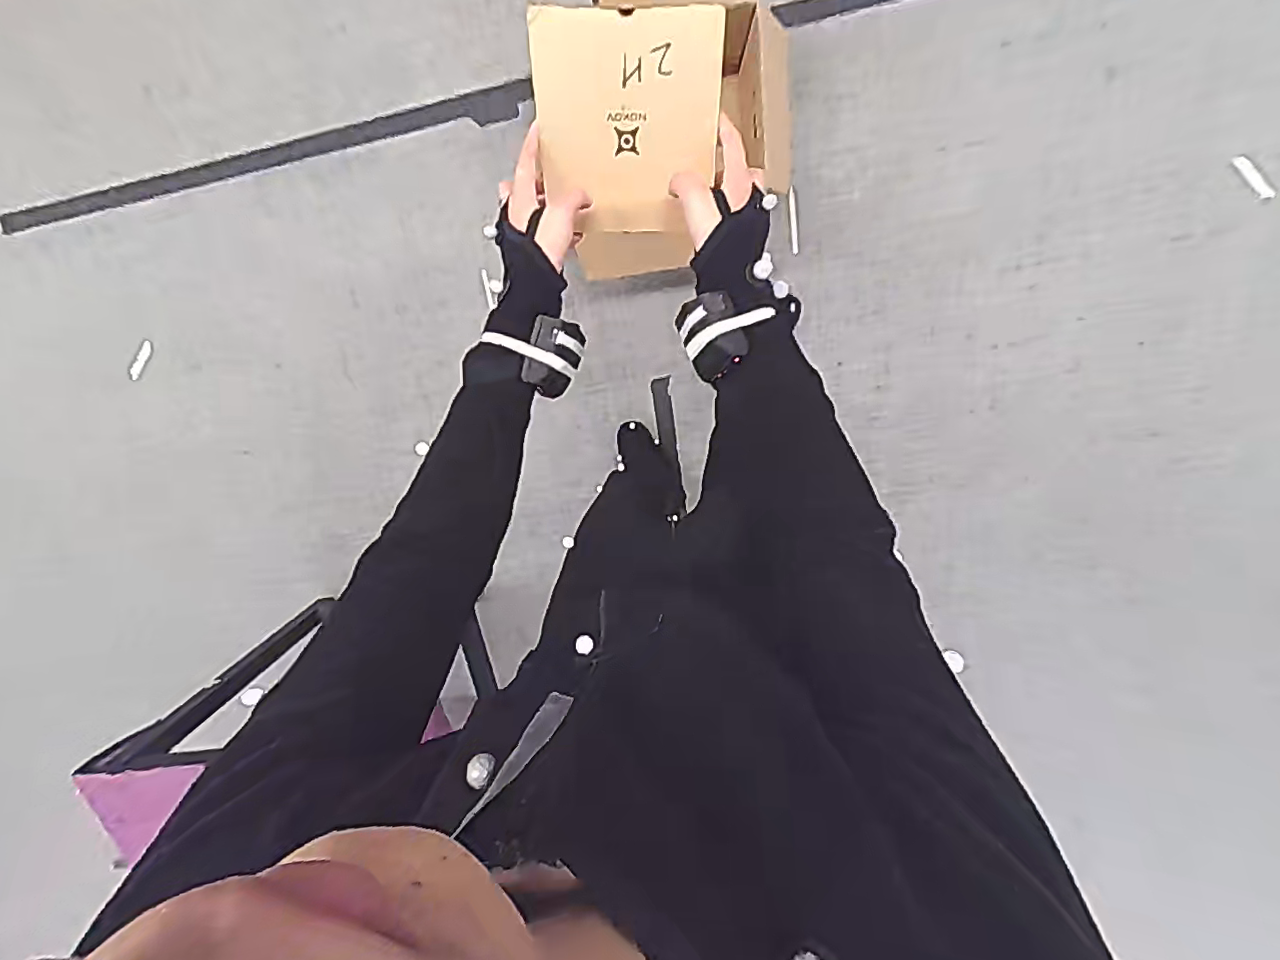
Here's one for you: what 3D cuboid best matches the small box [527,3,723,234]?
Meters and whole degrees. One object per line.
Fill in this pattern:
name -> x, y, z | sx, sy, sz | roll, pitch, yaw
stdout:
small box -> -0.012, -0.364, 0.556 | 0.168, 0.176, 0.179 | -1, 124, 0
